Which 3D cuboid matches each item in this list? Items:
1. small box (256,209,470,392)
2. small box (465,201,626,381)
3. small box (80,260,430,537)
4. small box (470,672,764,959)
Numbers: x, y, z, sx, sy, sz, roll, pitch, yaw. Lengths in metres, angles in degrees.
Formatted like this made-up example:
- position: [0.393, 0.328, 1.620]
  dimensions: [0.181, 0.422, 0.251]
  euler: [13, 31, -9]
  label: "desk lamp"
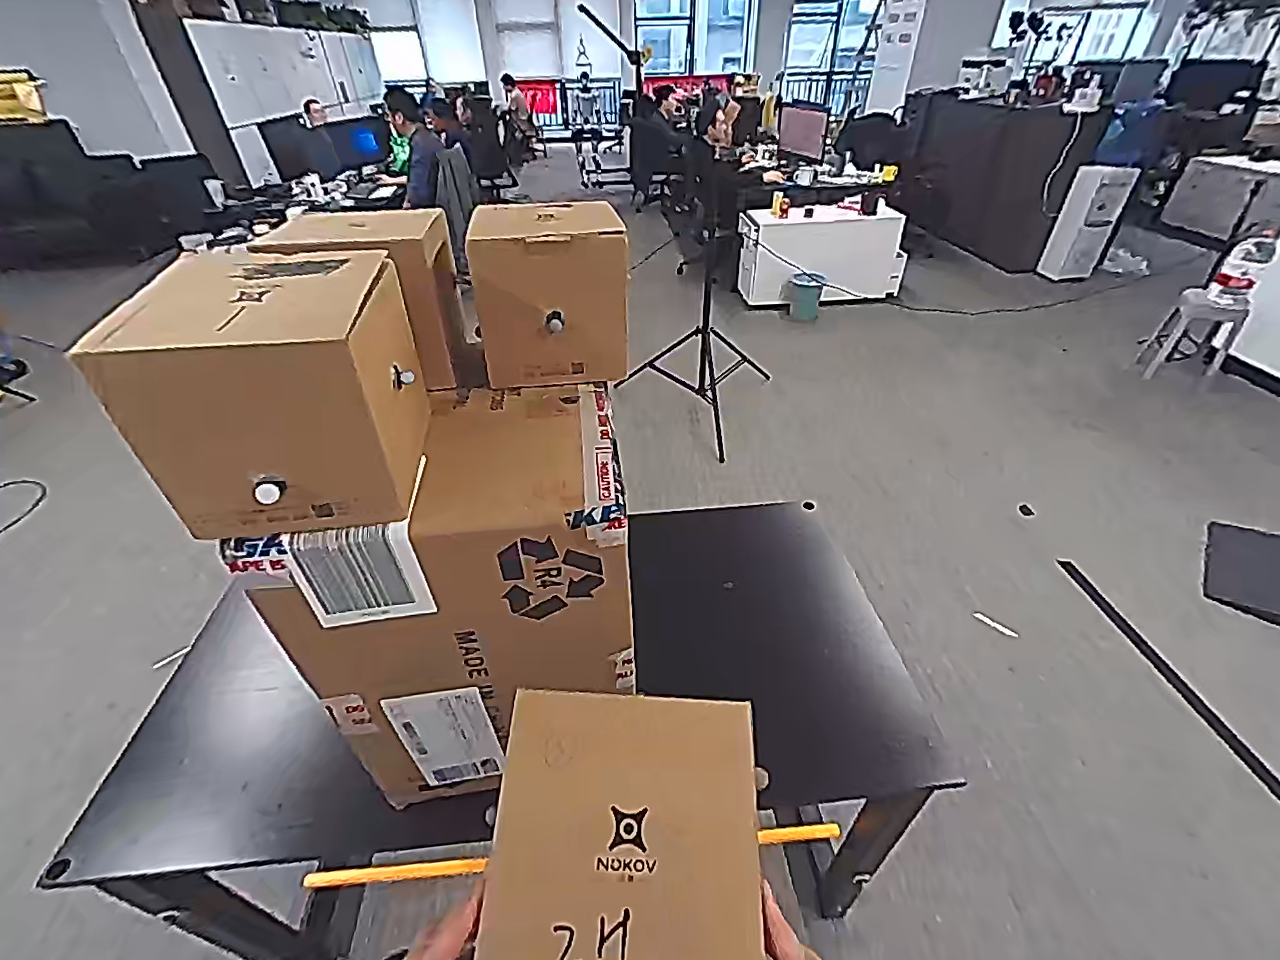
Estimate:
- position: [-0.306, -0.213, 0.645]
  dimensions: [0.168, 0.176, 0.179]
  euler: [-8, 37, -8]
  label: "small box"
- position: [-0.108, -0.229, 0.661]
  dimensions: [0.168, 0.176, 0.179]
  euler: [-5, 38, -8]
  label: "small box"
- position: [-0.288, -0.075, 0.463]
  dimensions: [0.168, 0.176, 0.179]
  euler: [-6, 41, -8]
  label: "small box"
- position: [-0.011, 0.254, 0.399]
  dimensions: [0.168, 0.176, 0.179]
  euler: [4, 60, 1]
  label: "small box"
